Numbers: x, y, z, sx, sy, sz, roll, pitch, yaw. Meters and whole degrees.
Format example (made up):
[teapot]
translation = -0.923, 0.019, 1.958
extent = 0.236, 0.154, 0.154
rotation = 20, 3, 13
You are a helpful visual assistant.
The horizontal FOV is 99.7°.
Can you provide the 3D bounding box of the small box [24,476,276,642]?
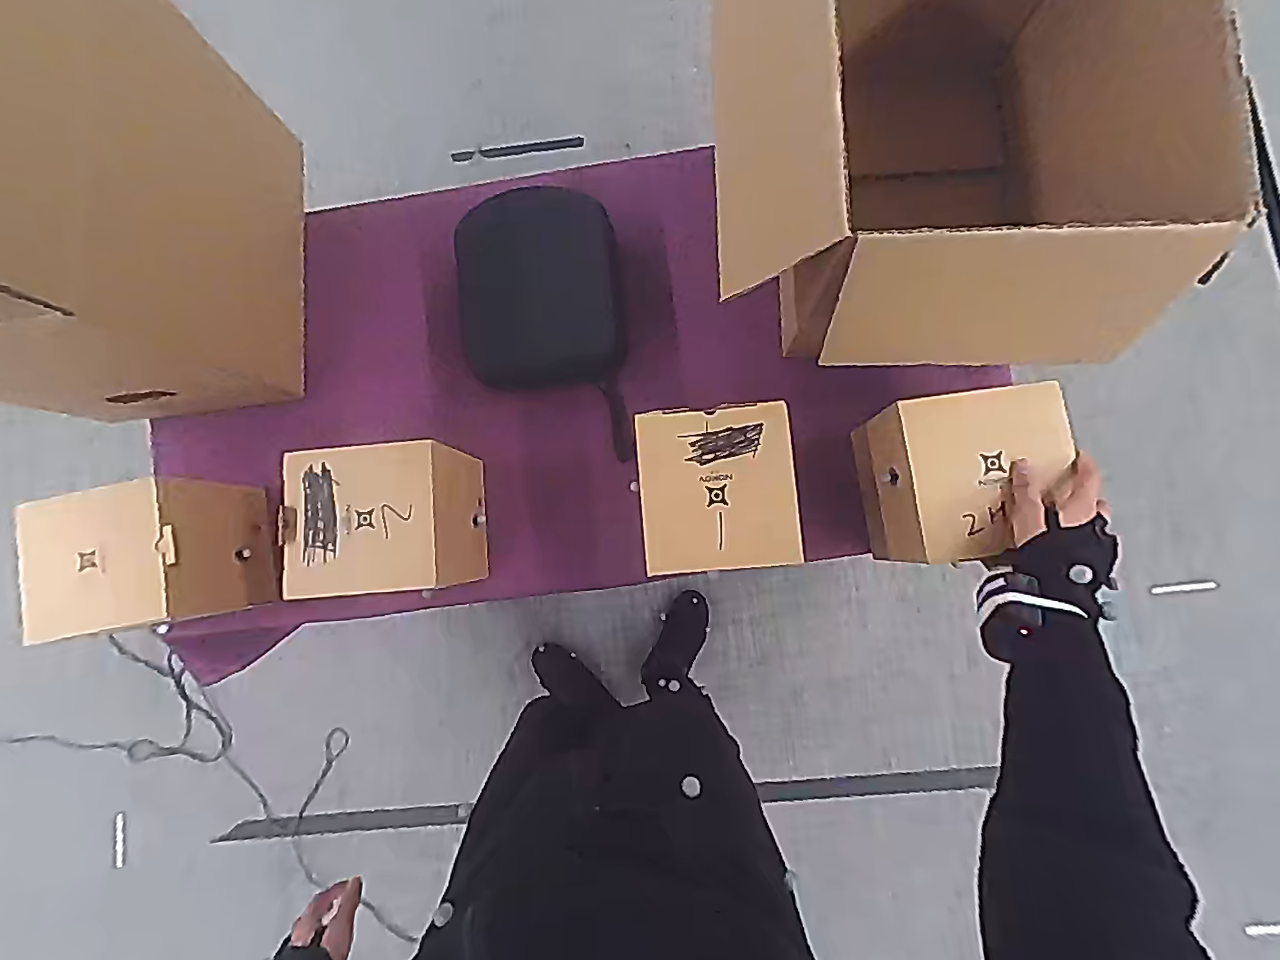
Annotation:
[small box]
translation = -0.615, 0.100, 0.696
extent = 0.179, 0.176, 0.168
rotation = -11, 83, 2
